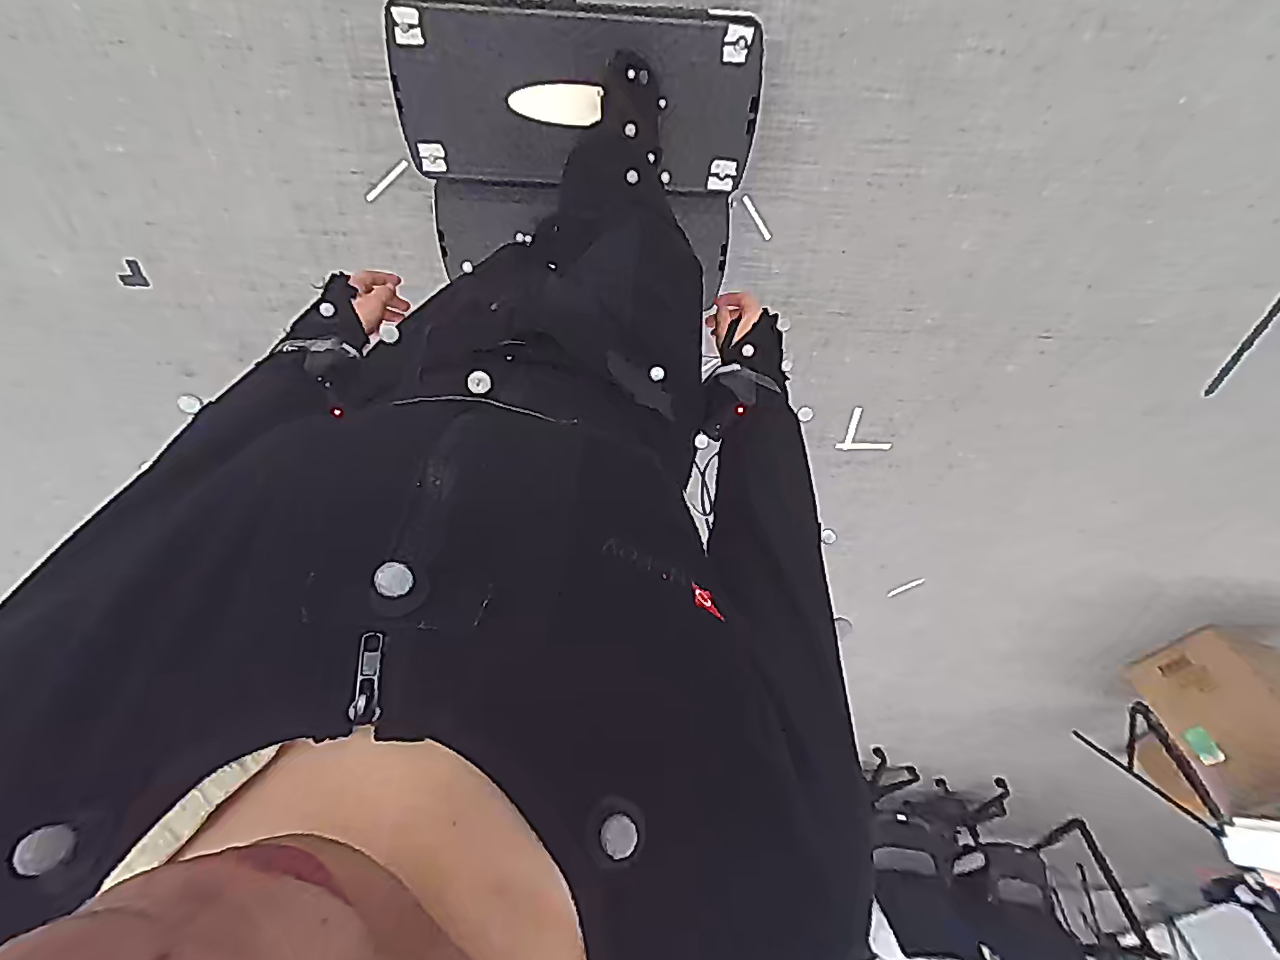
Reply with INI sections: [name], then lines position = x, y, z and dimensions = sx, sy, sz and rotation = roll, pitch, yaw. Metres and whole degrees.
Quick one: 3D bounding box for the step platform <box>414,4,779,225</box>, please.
[step platform]
position = -0.081, -0.712, 1.076
dimensions = 0.684, 0.204, 0.286
rotation = 5, 129, -5
